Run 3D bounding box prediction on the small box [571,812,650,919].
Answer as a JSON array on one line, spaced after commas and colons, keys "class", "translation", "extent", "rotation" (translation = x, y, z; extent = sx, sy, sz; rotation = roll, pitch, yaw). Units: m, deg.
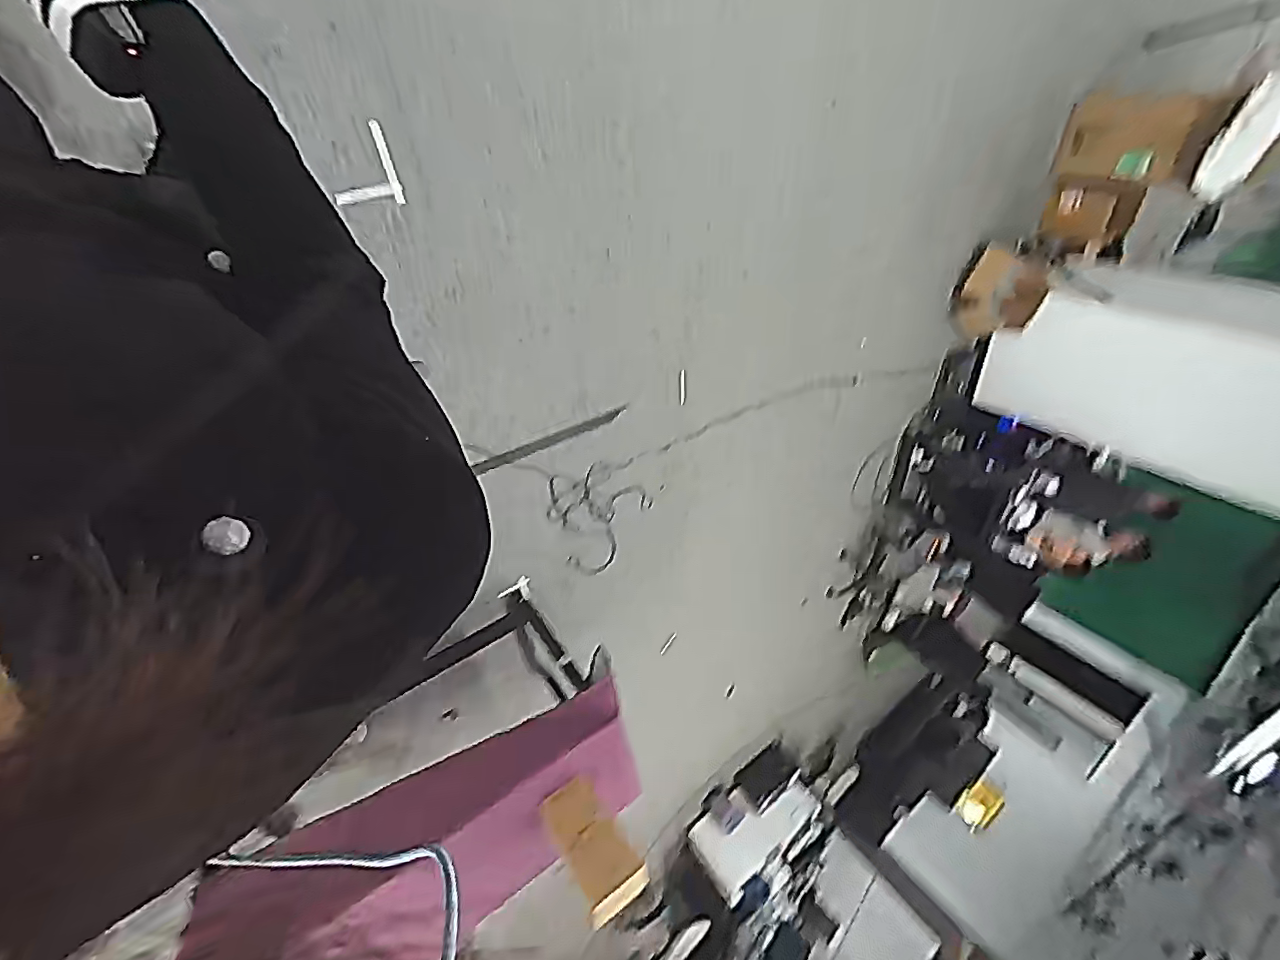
[{"class": "small box", "translation": [-0.087, 1.148, 1.622], "extent": [0.179, 0.176, 0.168], "rotation": [-24, 131, -27]}]
